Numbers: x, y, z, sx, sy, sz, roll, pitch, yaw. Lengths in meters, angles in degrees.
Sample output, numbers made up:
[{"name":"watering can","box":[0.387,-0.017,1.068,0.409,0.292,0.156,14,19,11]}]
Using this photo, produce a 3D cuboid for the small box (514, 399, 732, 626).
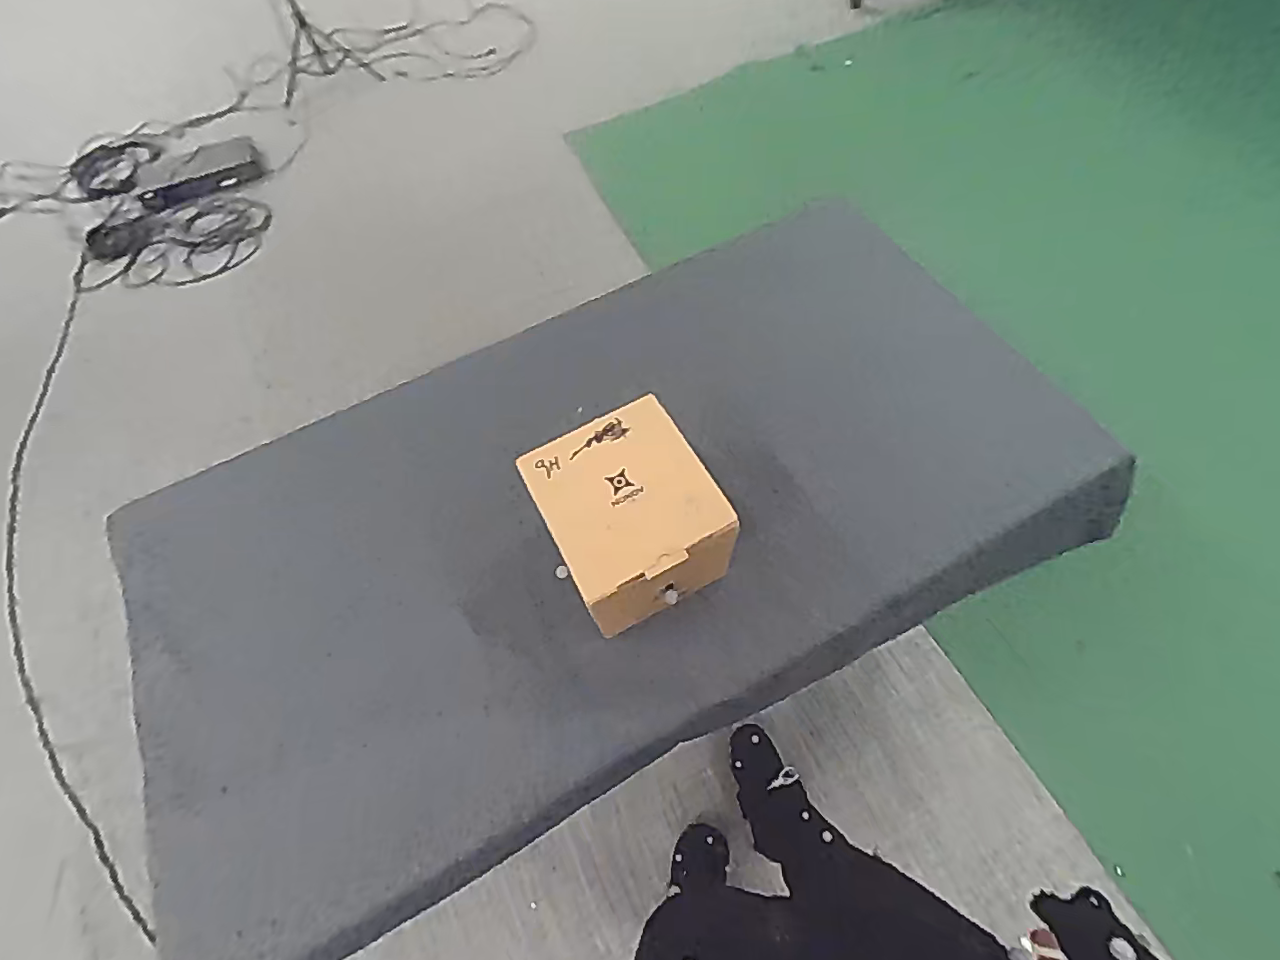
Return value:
[{"name":"small box","box":[-0.014,0.048,0.610,0.168,0.176,0.179,-28,65,-9]}]
